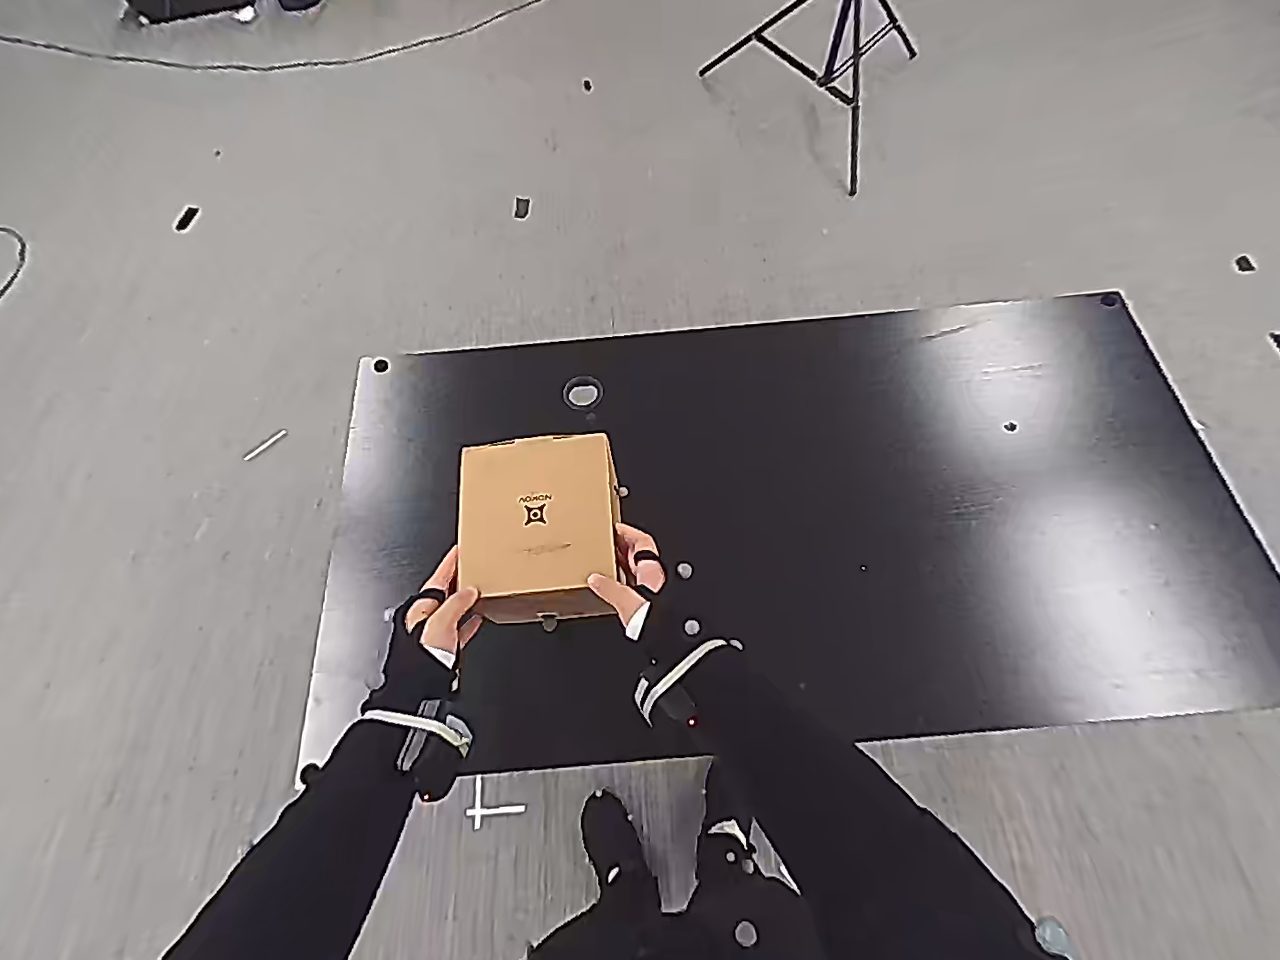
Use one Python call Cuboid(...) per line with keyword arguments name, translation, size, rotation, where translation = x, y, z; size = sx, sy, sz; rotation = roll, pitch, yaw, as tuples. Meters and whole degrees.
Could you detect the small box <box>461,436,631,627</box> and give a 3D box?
Cuboid(name="small box", translation=(-0.103, 0.069, 0.648), size=(0.168, 0.176, 0.179), rotation=(-7, 67, 1))
